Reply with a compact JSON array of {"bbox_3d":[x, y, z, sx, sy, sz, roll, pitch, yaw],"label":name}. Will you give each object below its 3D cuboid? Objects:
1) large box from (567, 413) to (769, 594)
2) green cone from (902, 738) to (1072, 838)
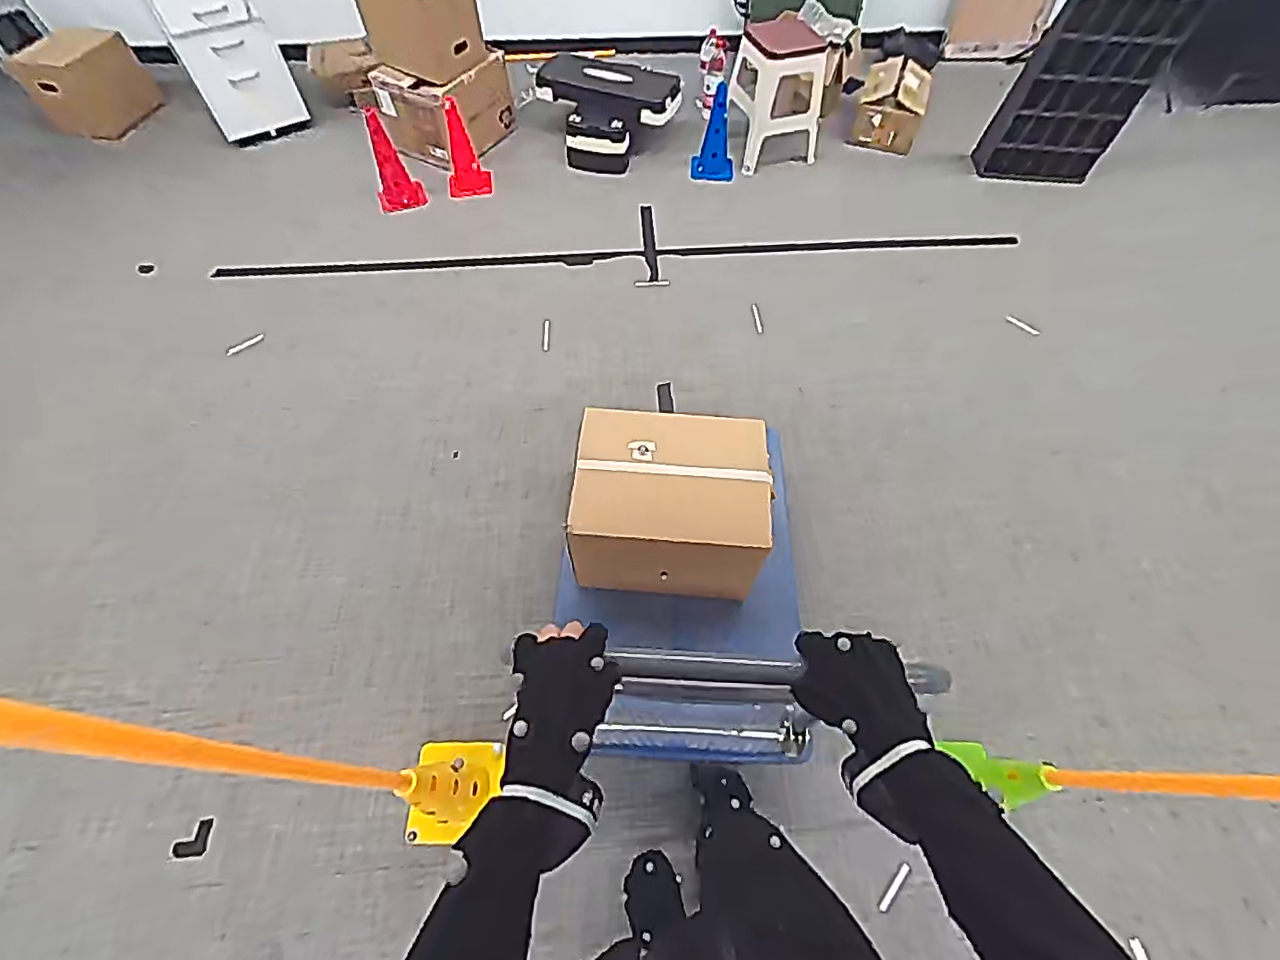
[{"bbox_3d":[0.065,0.064,1.259,0.408,0.320,0.320,4,59,2],"label":"large box"},{"bbox_3d":[0.725,0.613,1.097,0.202,0.368,0.200,1,58,-1],"label":"green cone"}]
